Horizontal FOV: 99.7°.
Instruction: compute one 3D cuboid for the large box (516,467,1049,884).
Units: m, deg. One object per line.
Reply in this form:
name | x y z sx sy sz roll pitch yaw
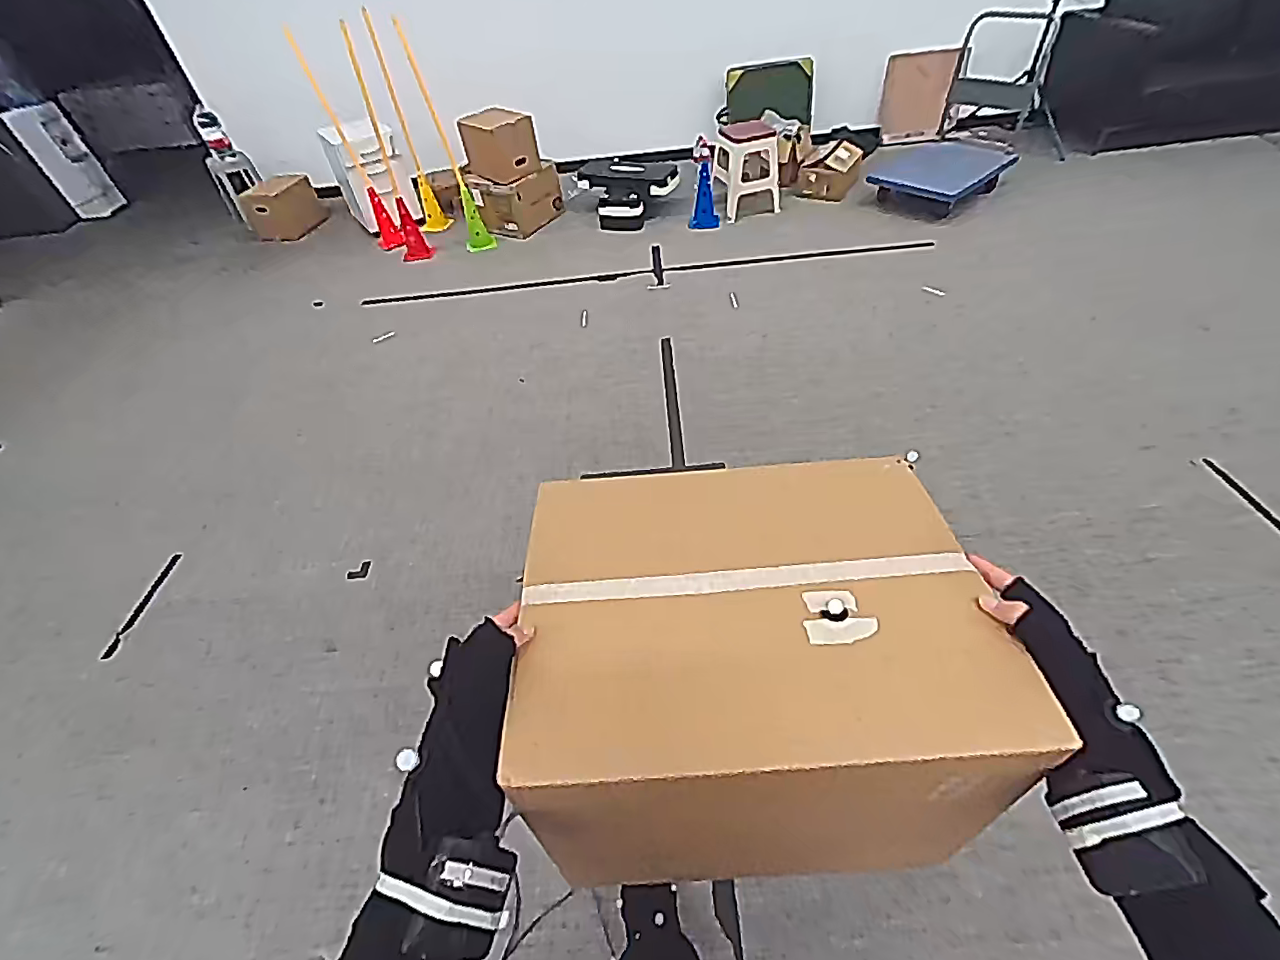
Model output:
large box | 0.106 0.213 0.603 0.408 0.320 0.320 -4 42 1
